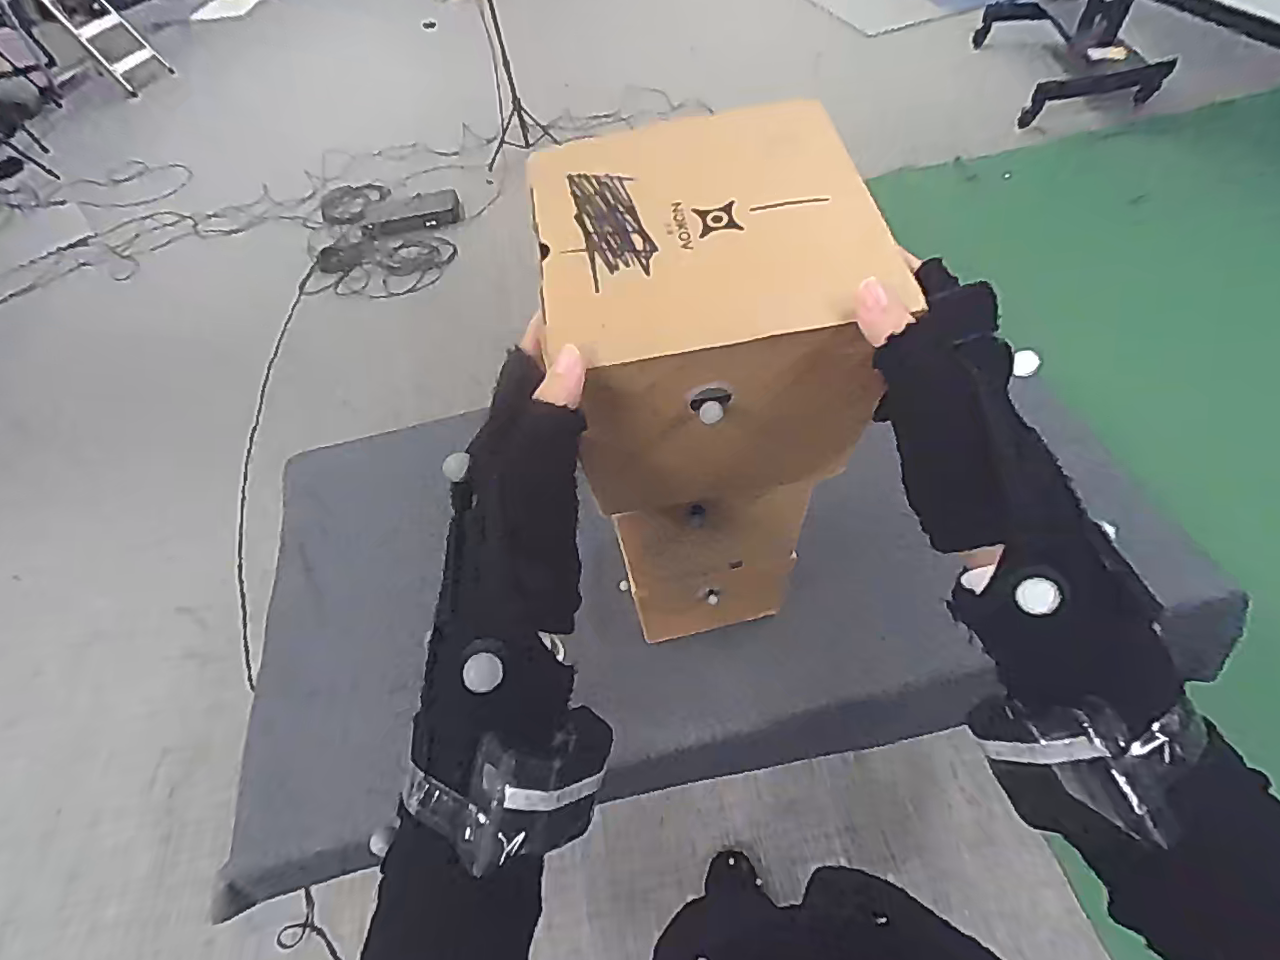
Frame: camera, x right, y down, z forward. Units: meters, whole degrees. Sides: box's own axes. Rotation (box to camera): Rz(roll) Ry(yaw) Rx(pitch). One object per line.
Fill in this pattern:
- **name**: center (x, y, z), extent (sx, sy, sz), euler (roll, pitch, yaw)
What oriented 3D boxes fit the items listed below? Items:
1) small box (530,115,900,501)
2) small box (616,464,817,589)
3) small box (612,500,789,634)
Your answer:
- **small box**: center (0.036, -0.099, 0.363), extent (0.179, 0.176, 0.168), euler (-9, 63, 1)
- **small box**: center (0.053, -0.015, 0.547), extent (0.168, 0.176, 0.179), euler (-14, 57, -3)
- **small box**: center (0.068, 0.077, 0.678), extent (0.179, 0.176, 0.168), euler (-13, 56, -2)
